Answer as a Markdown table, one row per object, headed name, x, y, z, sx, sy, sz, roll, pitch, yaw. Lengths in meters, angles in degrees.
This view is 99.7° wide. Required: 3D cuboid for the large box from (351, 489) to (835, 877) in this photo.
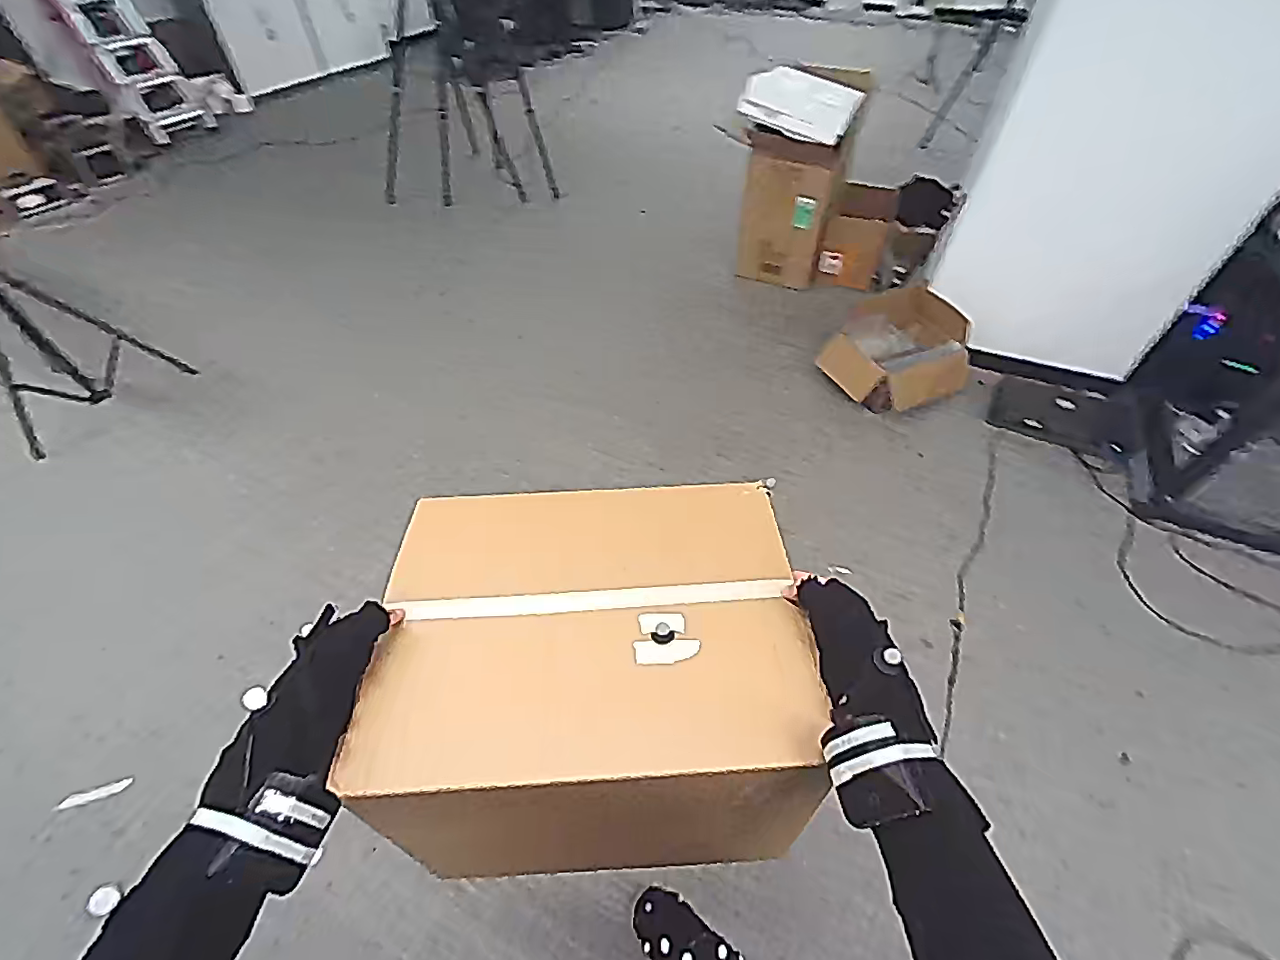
| name | x | y | z | sx | sy | sz | roll | pitch | yaw |
| --- | --- | --- | --- | --- | --- | --- | --- | --- | --- |
| large box | -0.044 | 0.236 | 0.644 | 0.408 | 0.320 | 0.320 | -3 | 44 | -2 |
